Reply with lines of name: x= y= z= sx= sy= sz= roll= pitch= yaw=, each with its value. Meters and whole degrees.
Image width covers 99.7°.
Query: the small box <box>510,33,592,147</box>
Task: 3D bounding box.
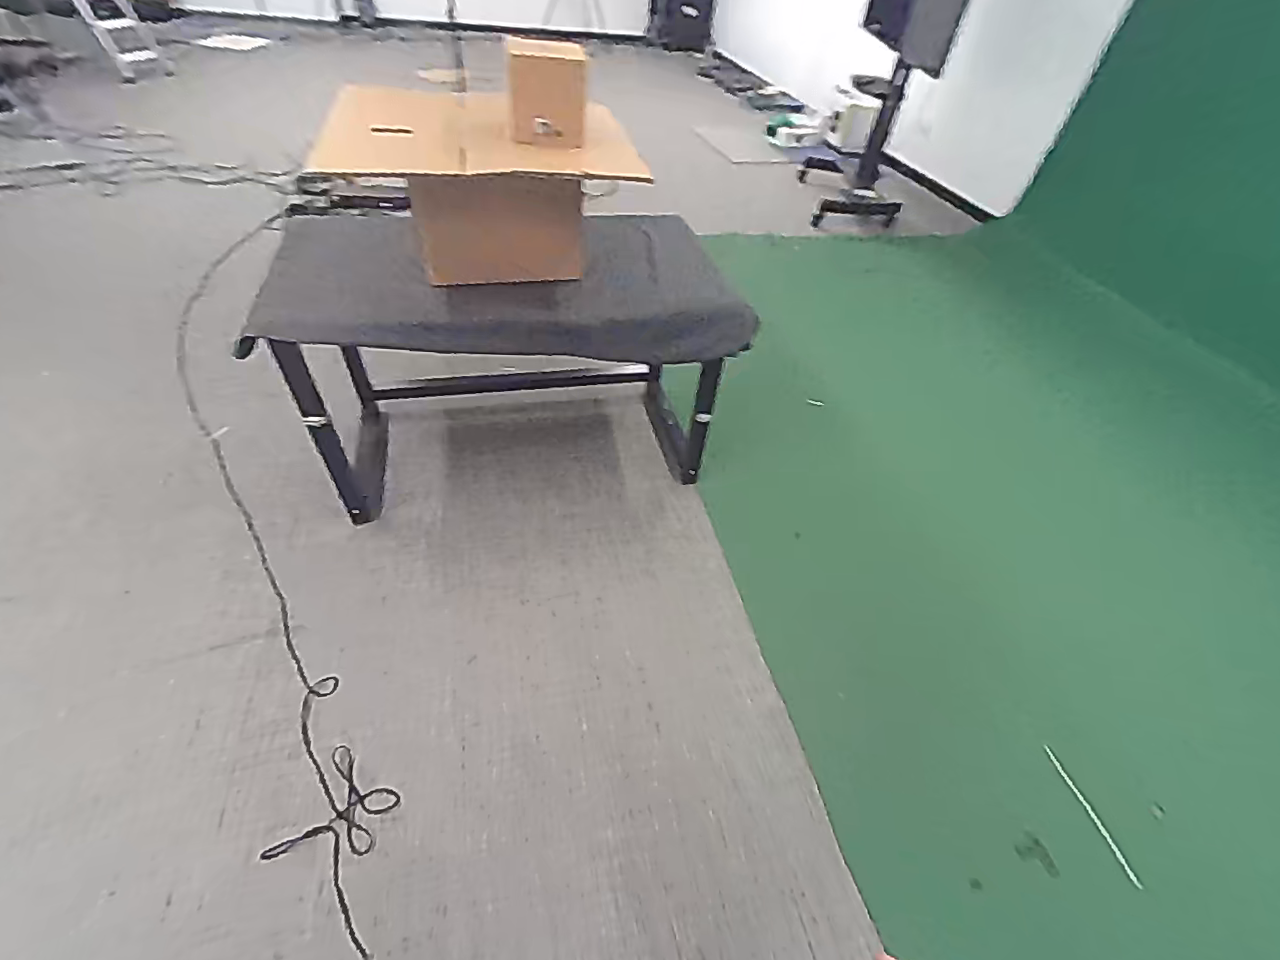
small box: x=-0.205 y=-0.882 z=1.226 sx=0.168 sy=0.176 sz=0.179 roll=-5 pitch=49 yaw=-12
